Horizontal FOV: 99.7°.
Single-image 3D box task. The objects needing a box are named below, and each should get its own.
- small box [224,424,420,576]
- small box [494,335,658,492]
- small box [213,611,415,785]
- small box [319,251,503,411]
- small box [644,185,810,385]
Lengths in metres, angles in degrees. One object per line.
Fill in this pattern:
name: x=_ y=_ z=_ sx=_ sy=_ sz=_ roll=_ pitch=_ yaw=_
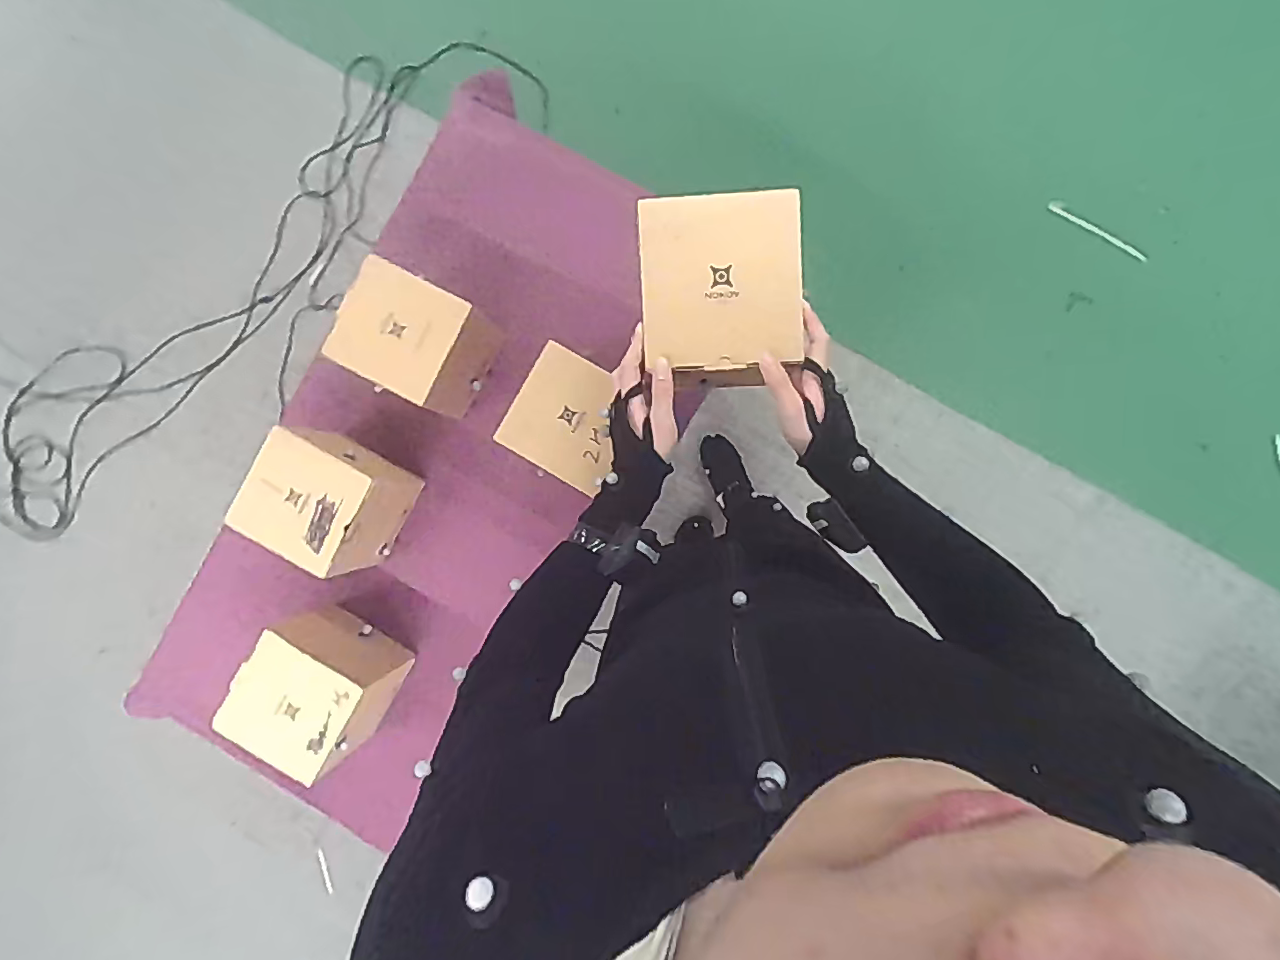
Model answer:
small box: x=-0.487 y=0.028 z=0.857 sx=0.179 sy=0.176 sz=0.168 roll=28 pitch=91 yaw=4
small box: x=-0.087 y=-0.091 z=0.834 sx=0.179 sy=0.176 sz=0.168 roll=30 pitch=92 yaw=5
small box: x=-0.498 y=0.324 z=0.851 sx=0.179 sy=0.176 sz=0.168 roll=30 pitch=92 yaw=4
small box: x=-0.348 y=-0.221 z=0.854 sx=0.179 sy=0.176 sz=0.168 roll=28 pitch=92 yaw=2
small box: x=0.090 y=-0.211 z=0.626 sx=0.168 sy=0.176 sz=0.179 roll=-3 pitch=94 yaw=2
